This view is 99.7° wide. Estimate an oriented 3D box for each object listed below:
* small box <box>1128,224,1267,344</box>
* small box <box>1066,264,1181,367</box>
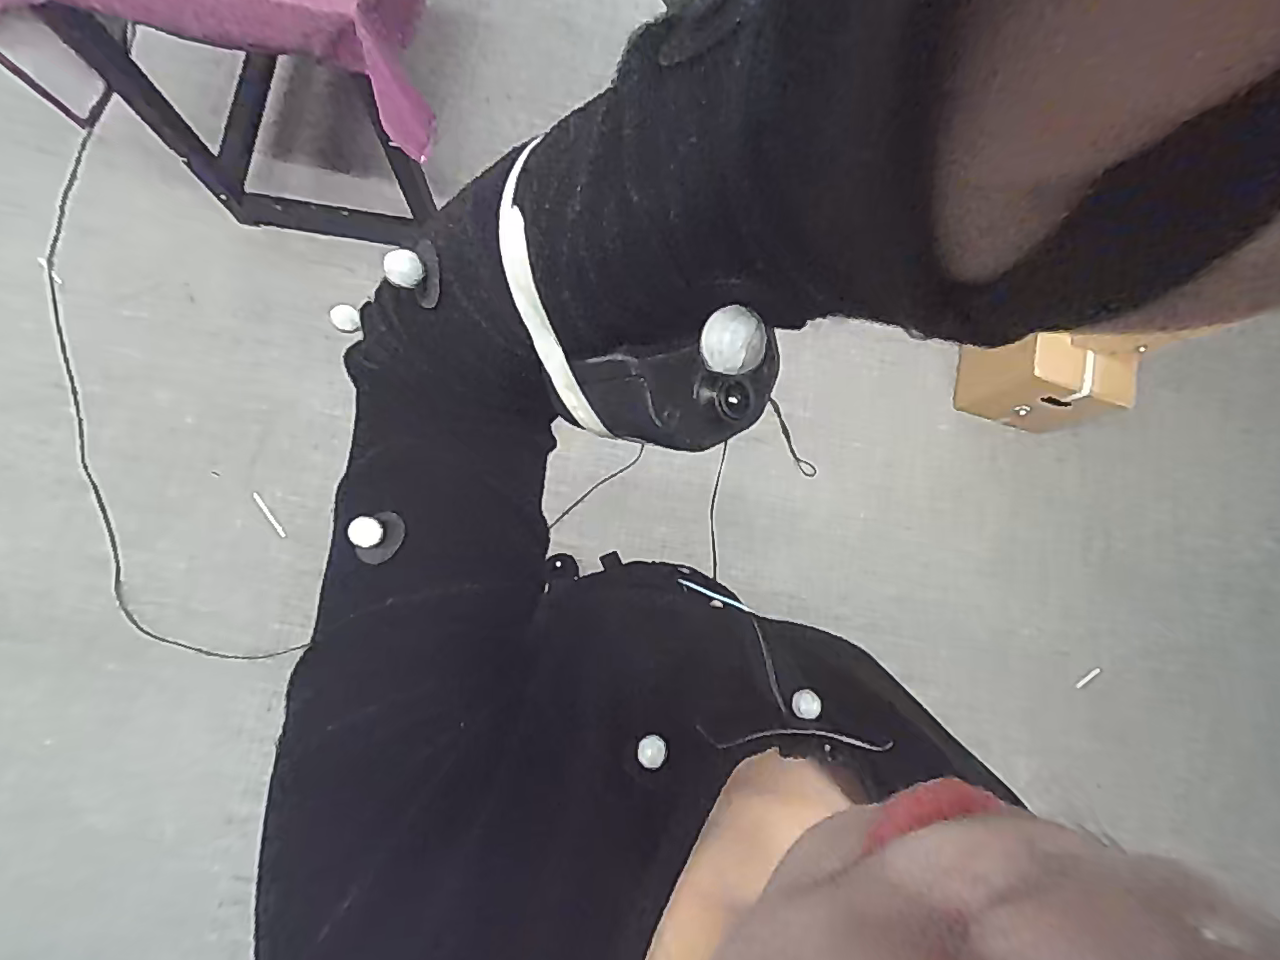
[{"bbox_3d":[1.292,-0.445,1.257,0.168,0.176,0.179,21,77,-7],"label":"small box"},{"bbox_3d":[1.269,-0.421,1.418,0.168,0.176,0.179,19,78,-7],"label":"small box"}]
